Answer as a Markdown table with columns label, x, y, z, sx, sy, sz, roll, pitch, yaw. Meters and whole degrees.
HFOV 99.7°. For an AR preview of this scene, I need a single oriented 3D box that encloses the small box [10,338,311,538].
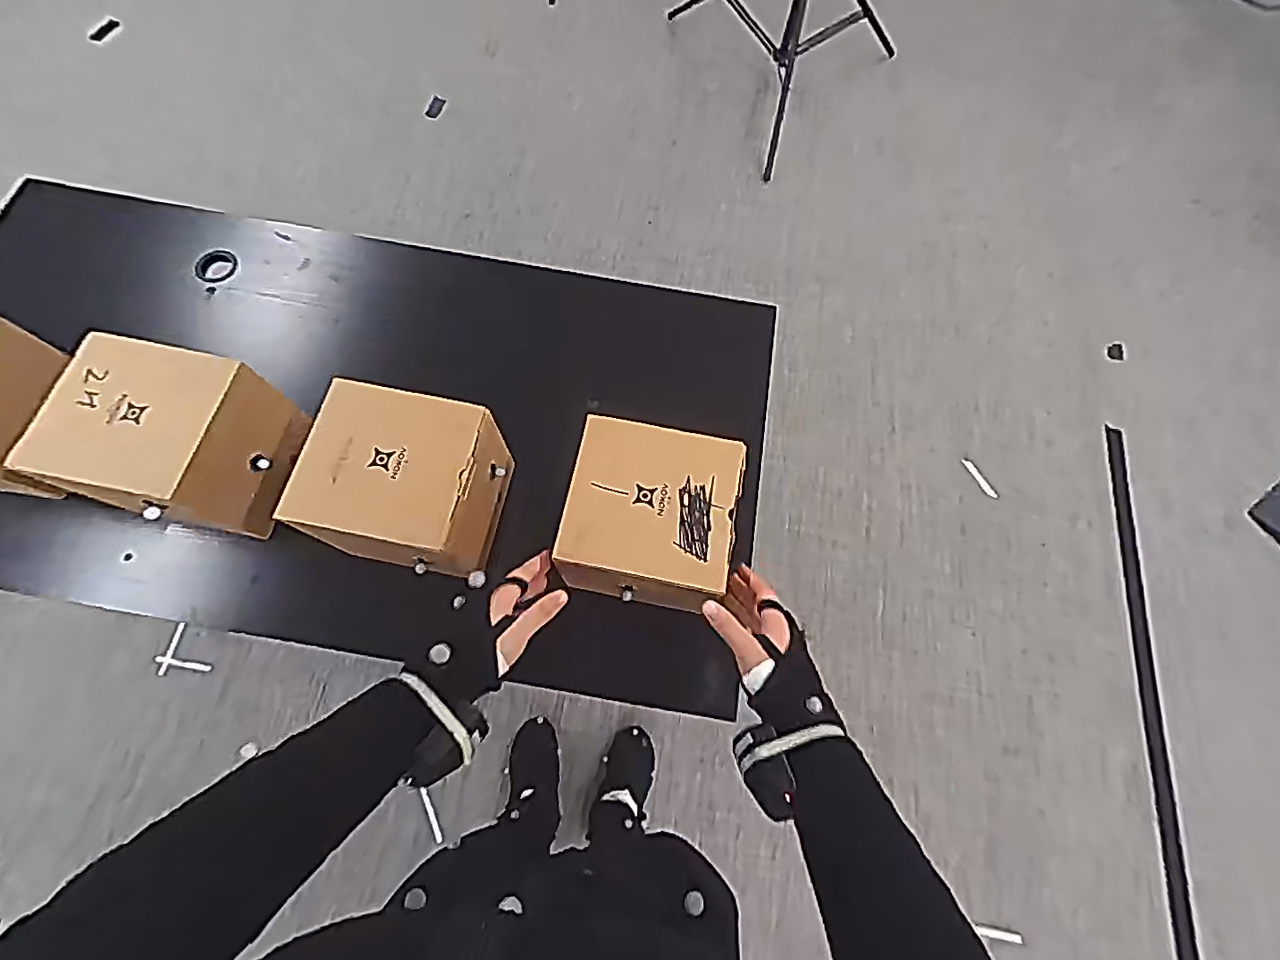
| label | x | y | z | sx | sy | sz | roll | pitch | yaw |
| --- | --- | --- | --- | --- | --- | --- | --- | --- | --- |
| small box | -0.538 | -0.038 | 0.643 | 0.179 | 0.176 | 0.168 | 11 | 69 | 1 |

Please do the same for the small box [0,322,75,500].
| label | x | y | z | sx | sy | sz | roll | pitch | yaw |
| --- | --- | --- | --- | --- | --- | --- | --- | --- | --- |
| small box | -0.807 | -0.085 | 0.648 | 0.179 | 0.176 | 0.168 | 8 | 70 | 0 |

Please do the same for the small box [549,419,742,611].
| label | x | y | z | sx | sy | sz | roll | pitch | yaw |
| --- | --- | --- | --- | --- | --- | --- | --- | --- | --- |
| small box | 0.007 | 0.052 | 0.635 | 0.179 | 0.176 | 0.168 | 11 | 69 | 3 |

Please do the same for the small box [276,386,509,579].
| label | x | y | z | sx | sy | sz | roll | pitch | yaw |
| --- | --- | --- | --- | --- | --- | --- | --- | --- | --- |
| small box | -0.269 | 0.014 | 0.640 | 0.179 | 0.176 | 0.168 | 10 | 69 | 2 |
